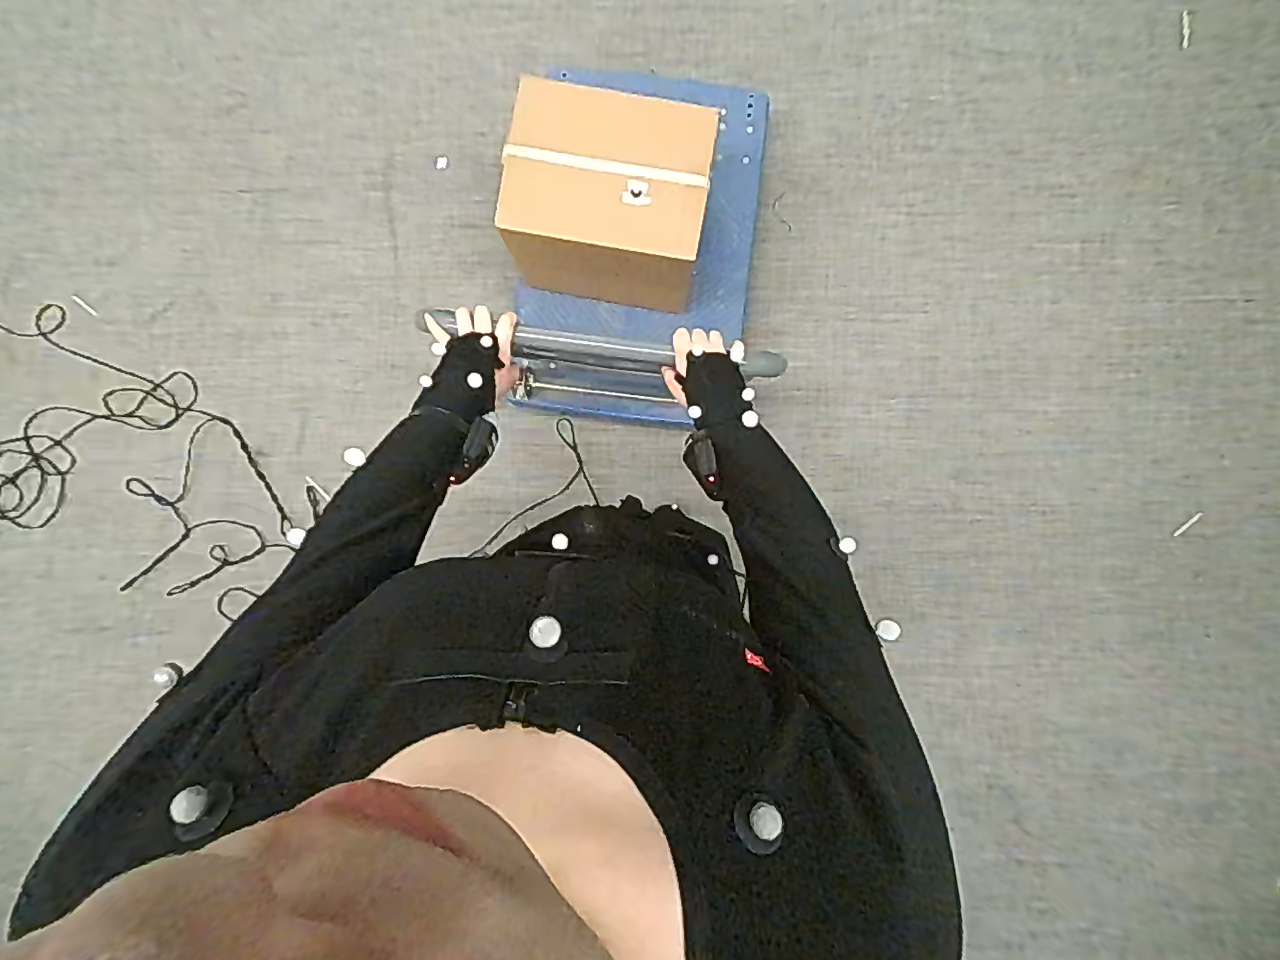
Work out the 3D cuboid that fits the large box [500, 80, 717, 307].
[{"bbox_3d":[-0.067,-0.621,1.230,0.408,0.320,0.320,10,88,-1],"label":"large box"}]
